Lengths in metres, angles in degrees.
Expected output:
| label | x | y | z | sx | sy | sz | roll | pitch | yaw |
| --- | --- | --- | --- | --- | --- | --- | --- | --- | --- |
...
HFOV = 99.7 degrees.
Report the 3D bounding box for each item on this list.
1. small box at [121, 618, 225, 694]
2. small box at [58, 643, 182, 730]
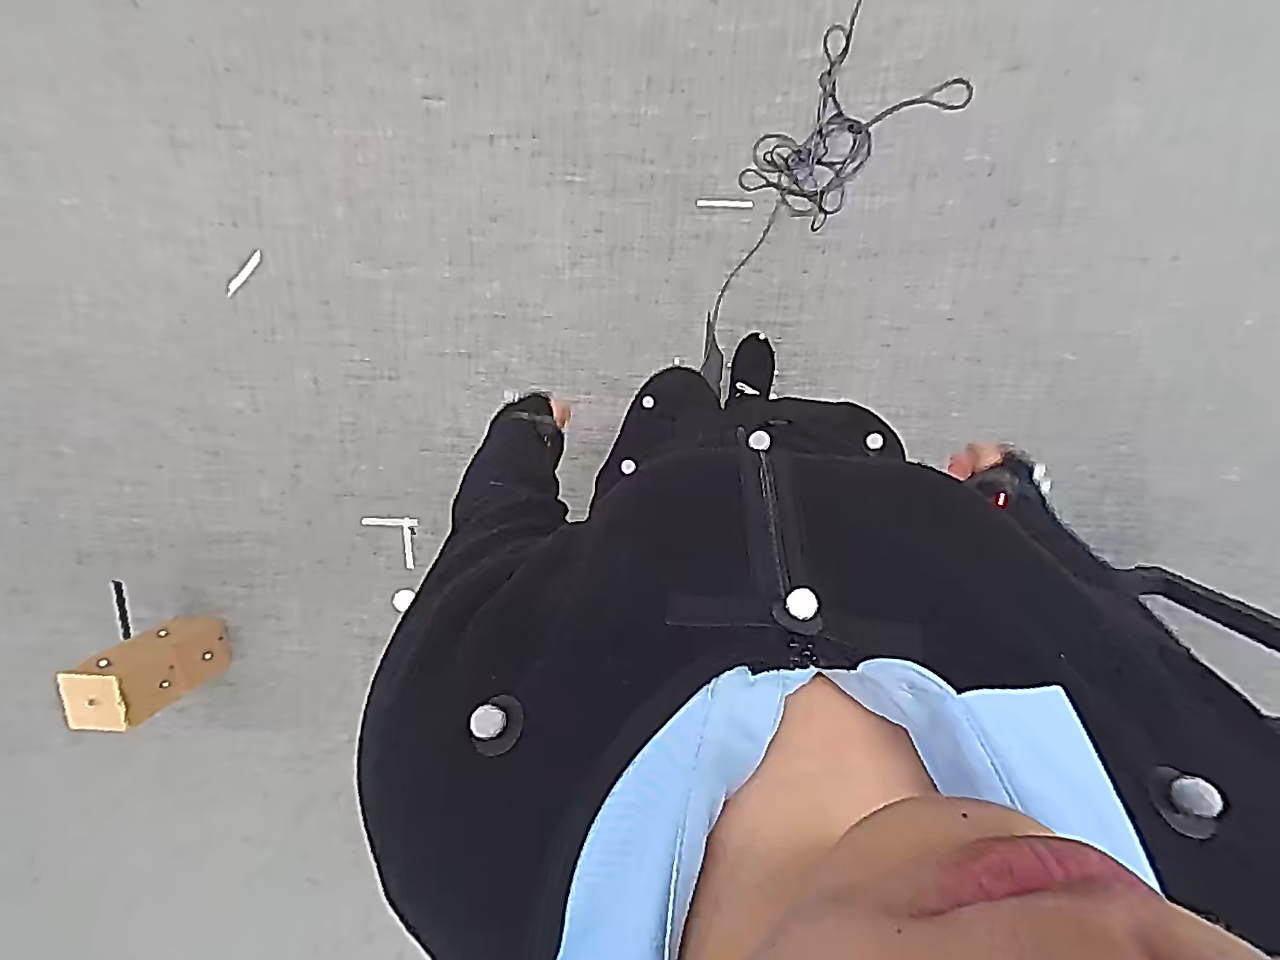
| label | x | y | z | sx | sy | sz | roll | pitch | yaw |
| --- | --- | --- | --- | --- | --- | --- | --- | --- | --- |
| small box | -1.423 | 0.536 | 1.666 | 0.179 | 0.176 | 0.168 | 0 | 101 | 6 |
| small box | -1.440 | 0.568 | 1.507 | 0.179 | 0.176 | 0.168 | 1 | 102 | 5 |
